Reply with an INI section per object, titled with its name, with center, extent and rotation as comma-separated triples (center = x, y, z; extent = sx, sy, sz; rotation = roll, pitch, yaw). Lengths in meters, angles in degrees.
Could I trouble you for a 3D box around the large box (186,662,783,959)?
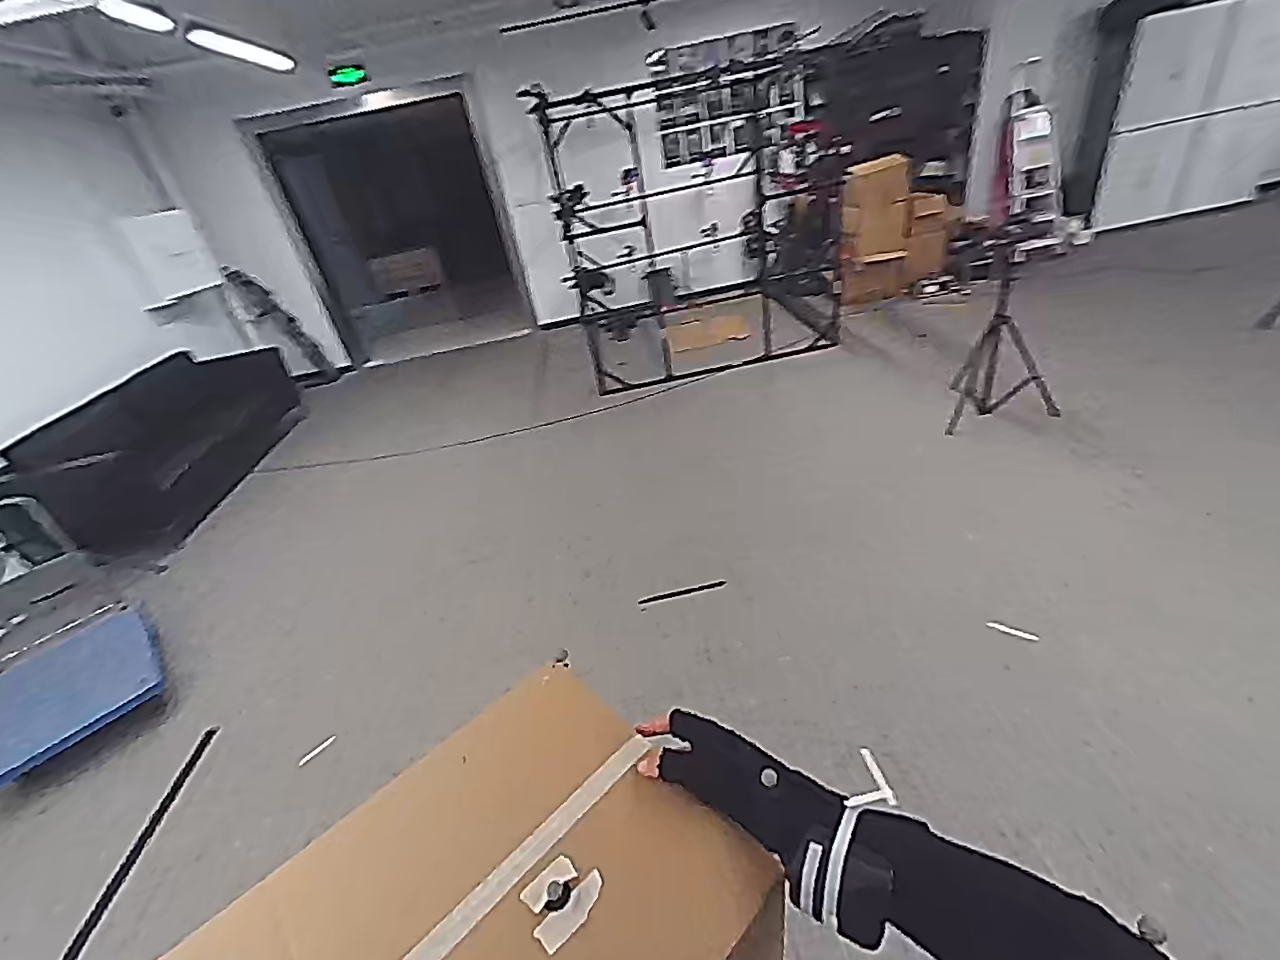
[large box]
center = -0.106, 0.473, 0.509
extent = 0.408, 0.320, 0.320
rotation = -31, 38, -31
